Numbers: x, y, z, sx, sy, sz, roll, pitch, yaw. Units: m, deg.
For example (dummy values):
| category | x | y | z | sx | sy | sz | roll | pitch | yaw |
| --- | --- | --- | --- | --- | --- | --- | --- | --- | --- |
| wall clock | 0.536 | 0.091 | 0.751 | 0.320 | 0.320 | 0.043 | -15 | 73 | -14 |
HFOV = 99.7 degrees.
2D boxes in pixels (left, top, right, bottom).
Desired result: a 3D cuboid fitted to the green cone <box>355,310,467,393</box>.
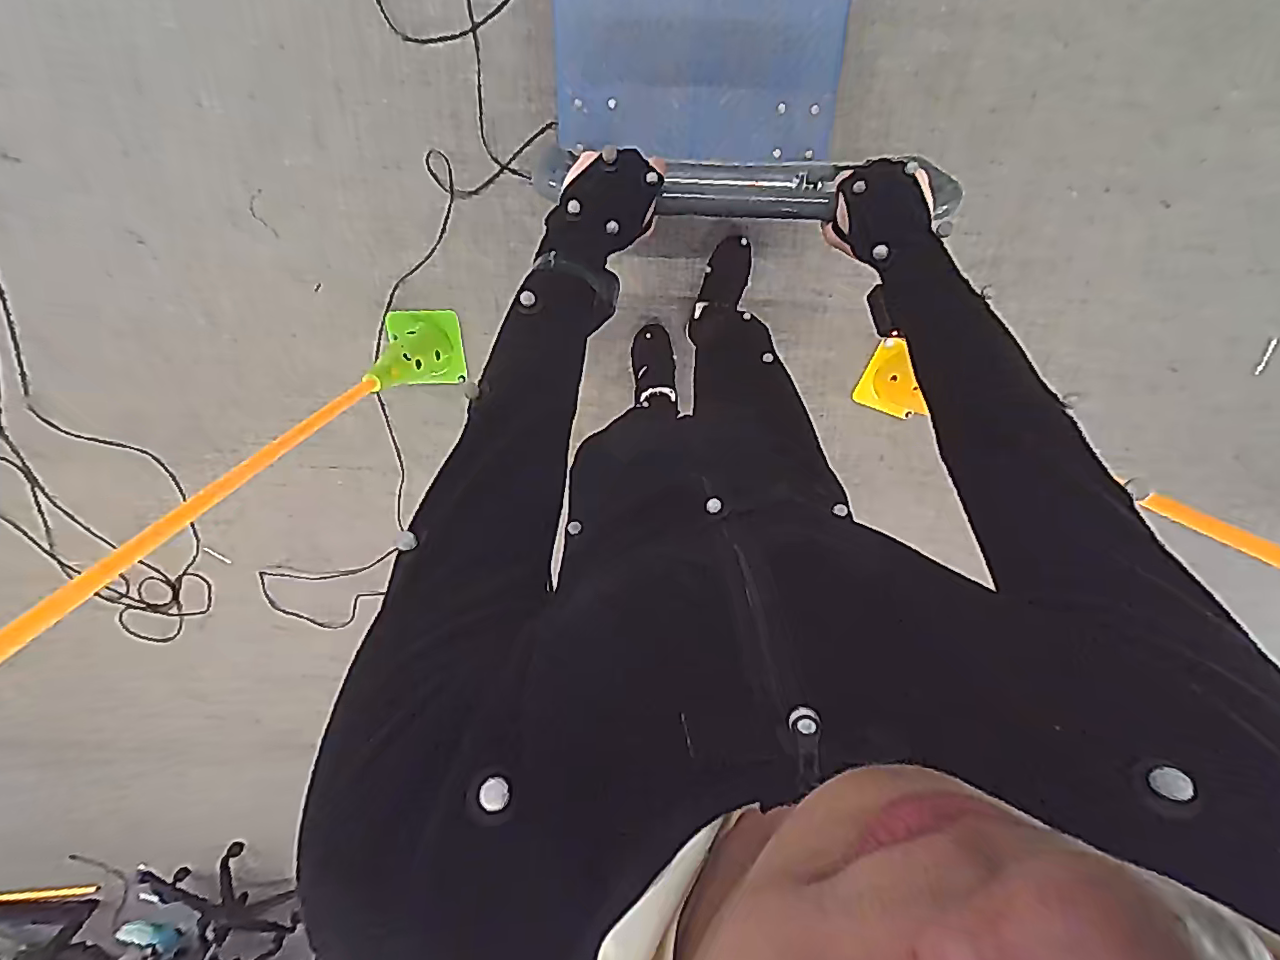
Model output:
| category | x | y | z | sx | sy | sz | roll | pitch | yaw |
| --- | --- | --- | --- | --- | --- | --- | --- | --- | --- |
| green cone | -0.591 | -0.290 | 1.333 | 0.202 | 0.368 | 0.200 | -1 | 115 | 2 |
